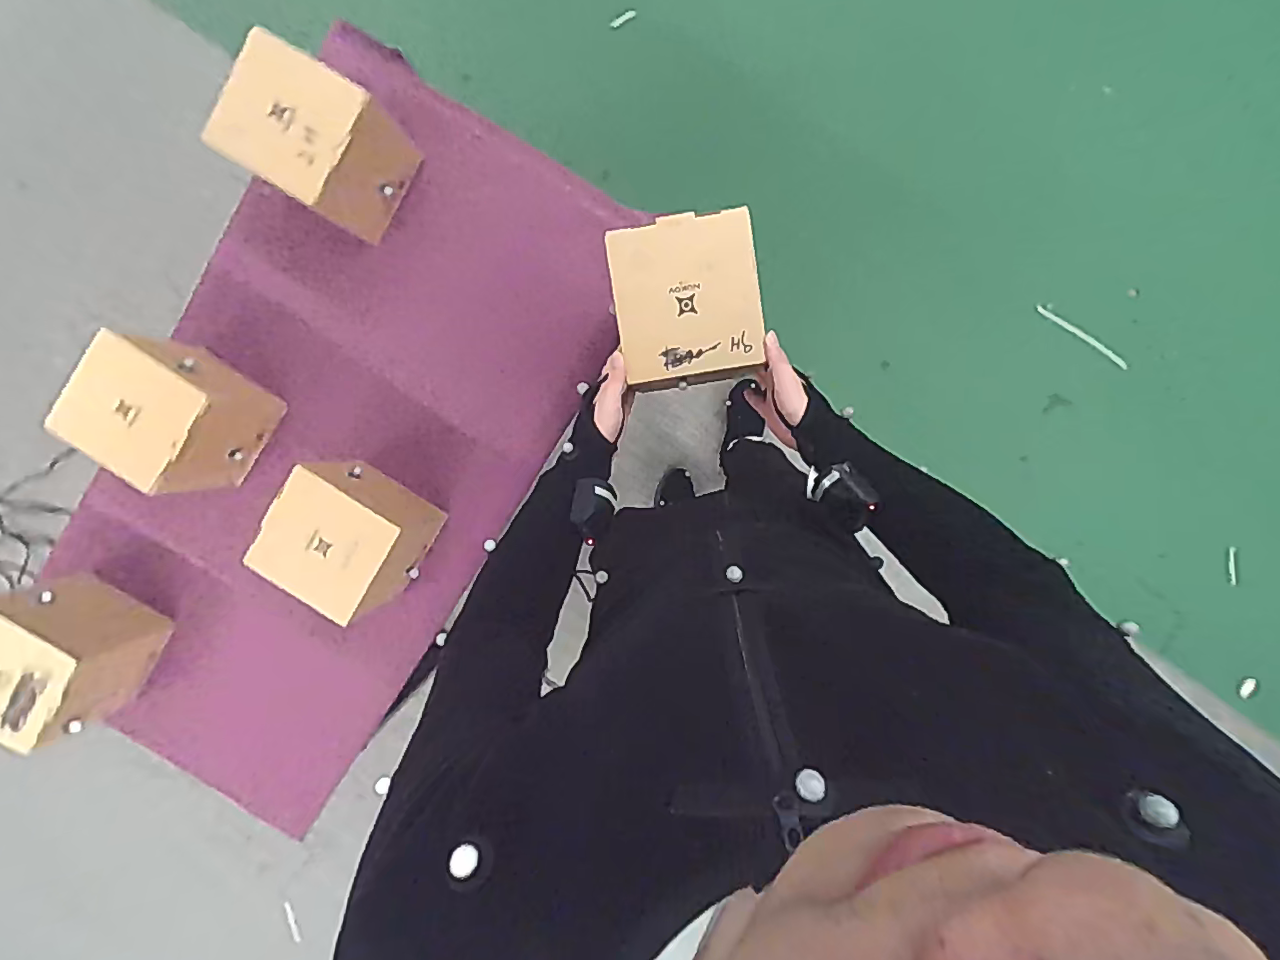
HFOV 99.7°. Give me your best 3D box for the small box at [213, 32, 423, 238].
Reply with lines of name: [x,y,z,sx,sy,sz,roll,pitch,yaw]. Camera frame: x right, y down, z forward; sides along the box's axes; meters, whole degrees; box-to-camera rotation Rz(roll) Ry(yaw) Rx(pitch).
small box: [-0.467,-0.496,0.810,0.179,0.176,0.168,31,98,-1]

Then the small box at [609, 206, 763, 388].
small box: [0.059,-0.221,0.701,0.168,0.176,0.179,-7,95,6]

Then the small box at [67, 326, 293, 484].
small box: [-0.707,-0.111,0.853,0.179,0.176,0.168,34,94,-2]

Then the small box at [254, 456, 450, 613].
small box: [-0.439,0.076,0.852,0.179,0.176,0.168,33,96,1]
